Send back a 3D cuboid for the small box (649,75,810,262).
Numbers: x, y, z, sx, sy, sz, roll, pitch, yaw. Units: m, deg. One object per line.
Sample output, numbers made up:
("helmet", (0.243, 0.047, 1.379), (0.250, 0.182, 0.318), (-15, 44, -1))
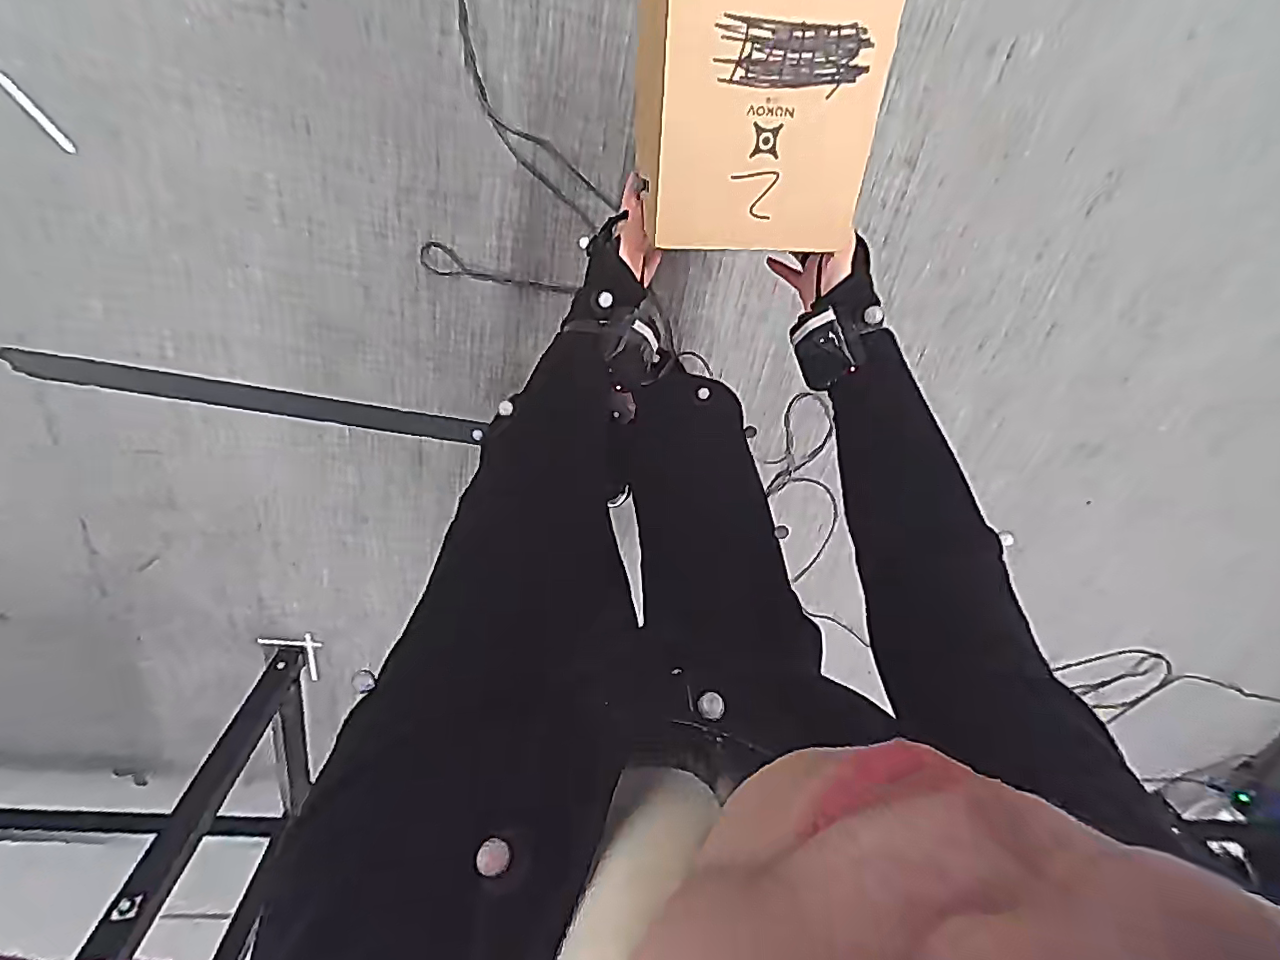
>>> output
("small box", (0.122, -0.429, 0.776), (0.168, 0.176, 0.179), (-3, 101, -26))
